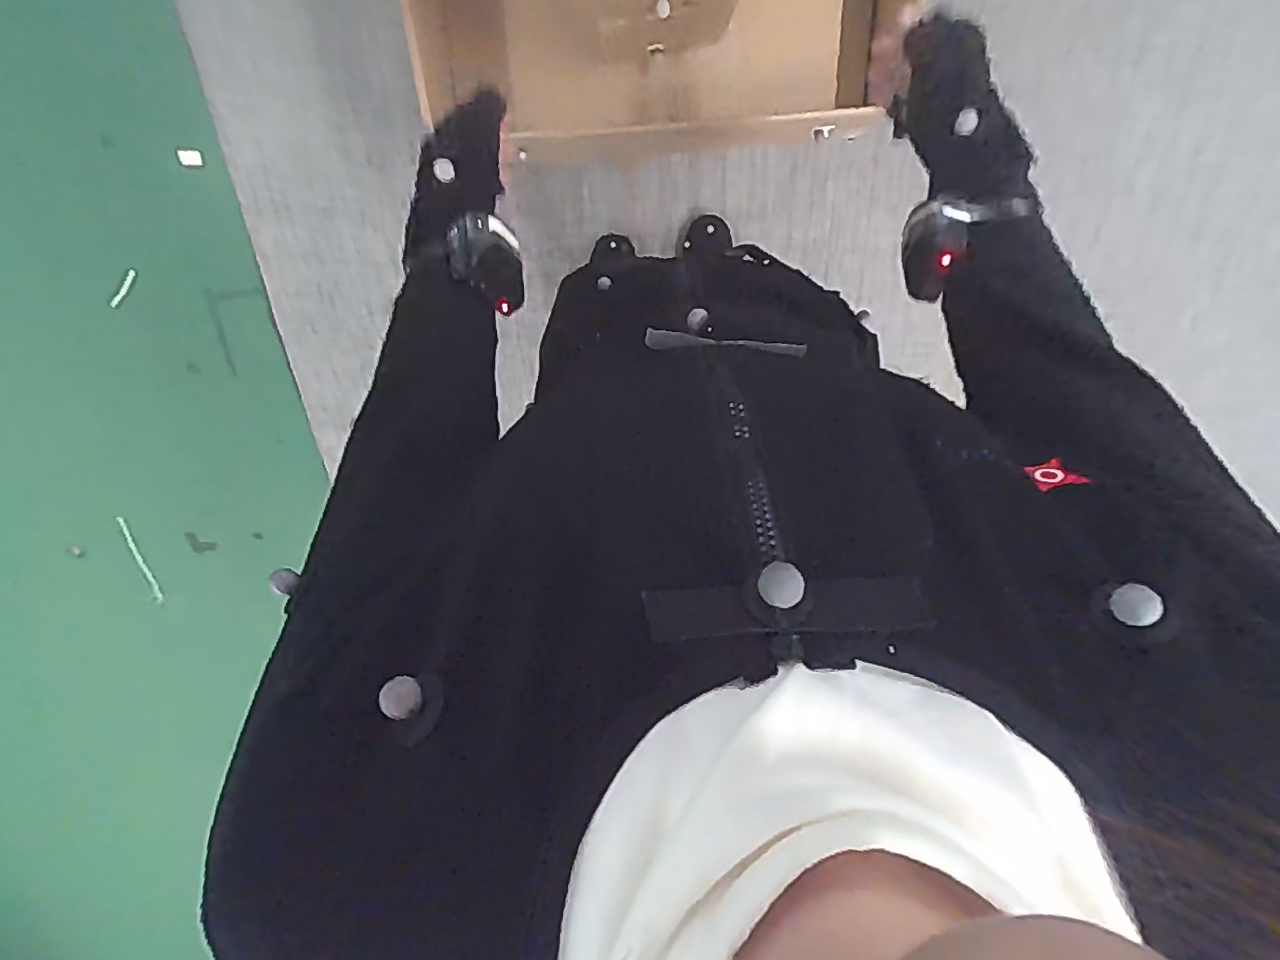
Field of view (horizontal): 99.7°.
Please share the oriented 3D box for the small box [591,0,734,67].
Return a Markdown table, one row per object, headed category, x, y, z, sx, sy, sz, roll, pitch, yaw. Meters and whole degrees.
| category | x | y | z | sx | sy | sz | roll | pitch | yaw |
| --- | --- | --- | --- | --- | --- | --- | --- | --- | --- |
| small box | 0.017 | -0.642 | 0.660 | 0.168 | 0.176 | 0.179 | -7 | 116 | 4 |
